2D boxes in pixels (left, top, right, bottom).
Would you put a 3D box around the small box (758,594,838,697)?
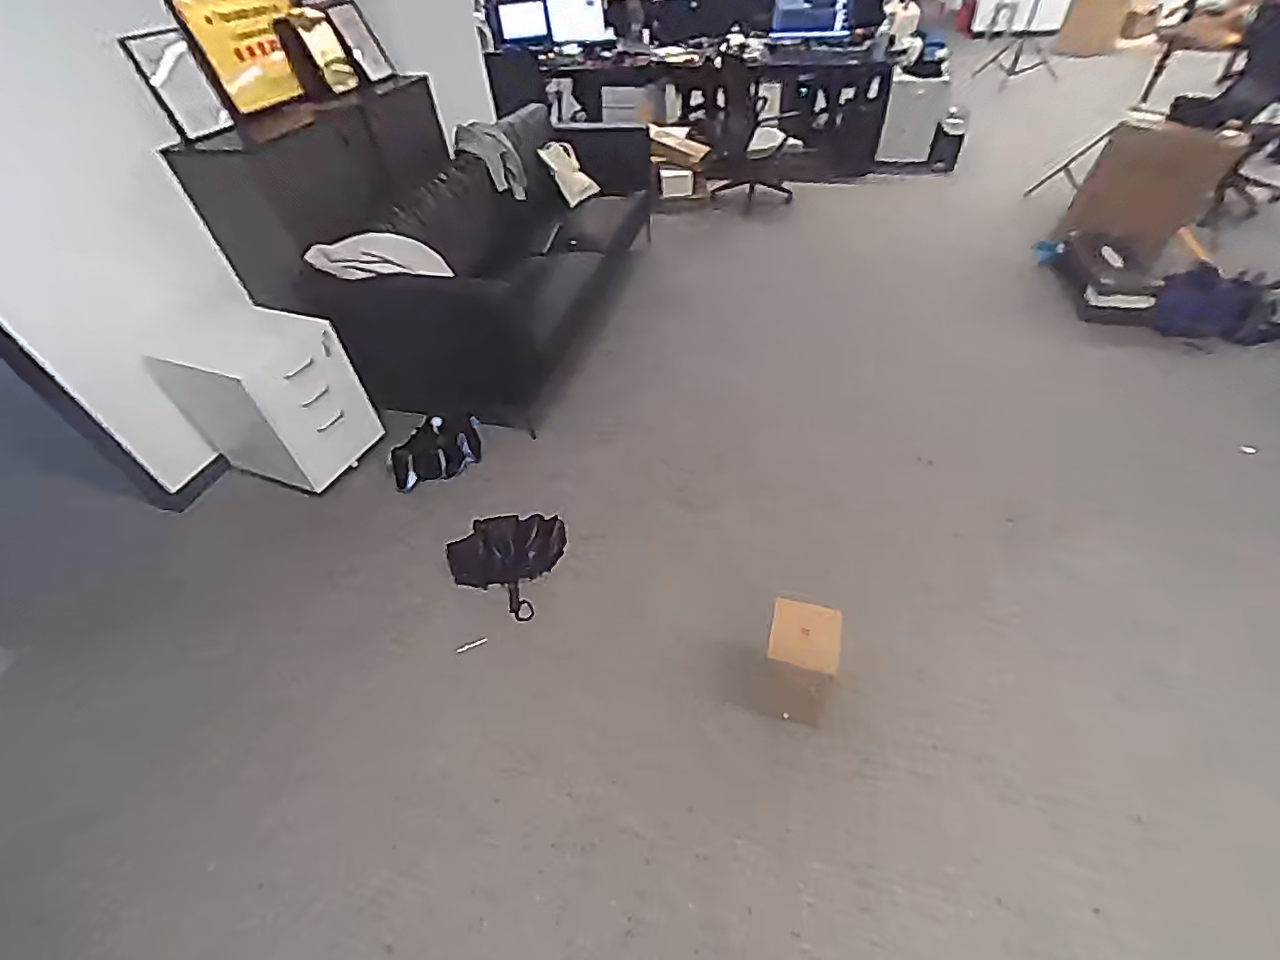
[{"bbox_3d":[0.399,0.423,1.373,0.168,0.176,0.179,11,48,13],"label":"small box"}]
